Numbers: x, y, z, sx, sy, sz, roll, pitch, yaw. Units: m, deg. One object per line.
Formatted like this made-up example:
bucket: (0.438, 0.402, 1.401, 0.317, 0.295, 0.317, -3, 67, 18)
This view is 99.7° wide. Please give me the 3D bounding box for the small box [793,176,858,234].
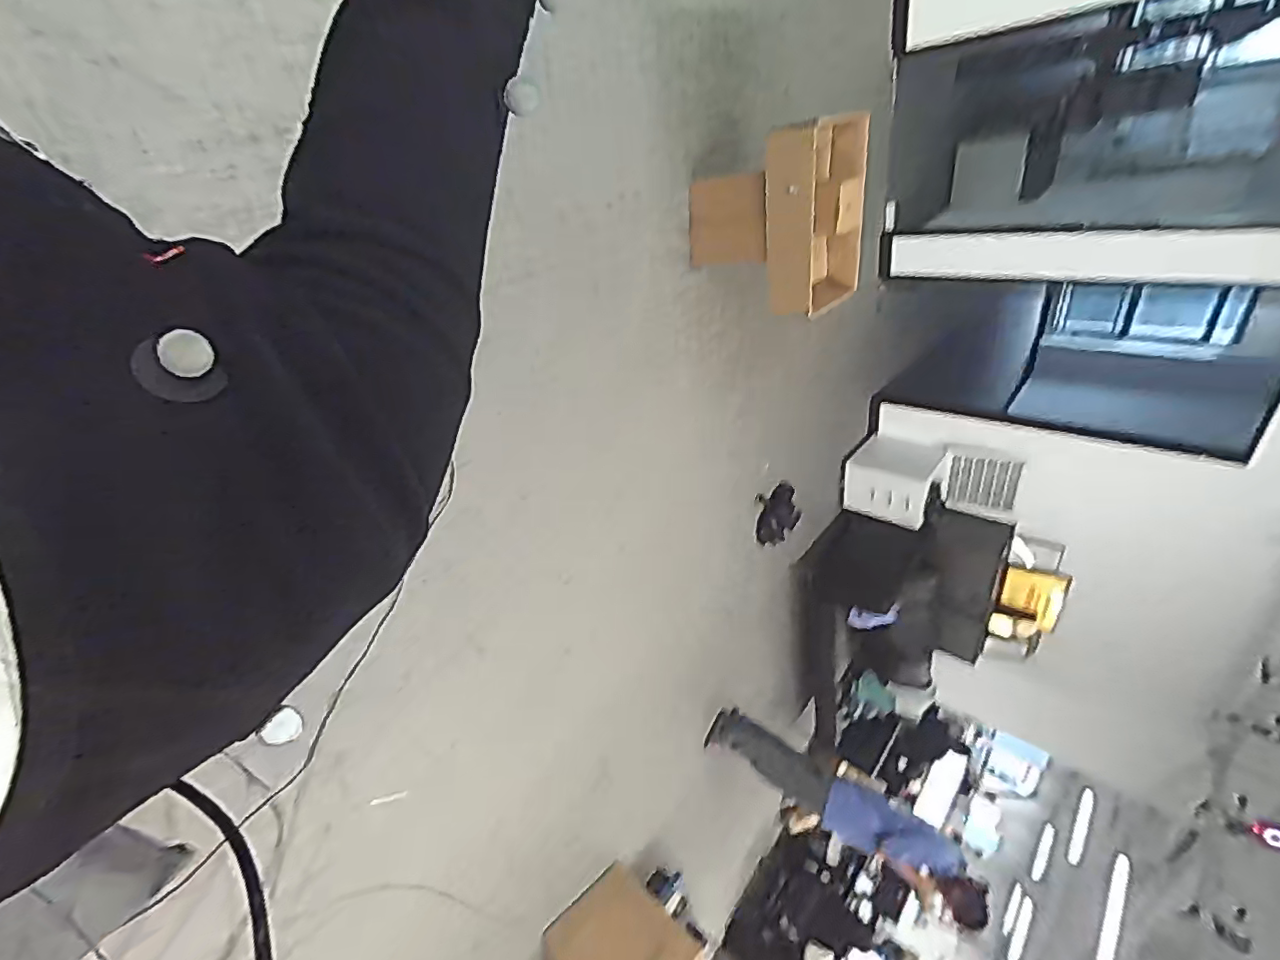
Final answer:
small box: (0.670, -0.997, 1.963, 0.179, 0.176, 0.168, -38, 133, -37)
